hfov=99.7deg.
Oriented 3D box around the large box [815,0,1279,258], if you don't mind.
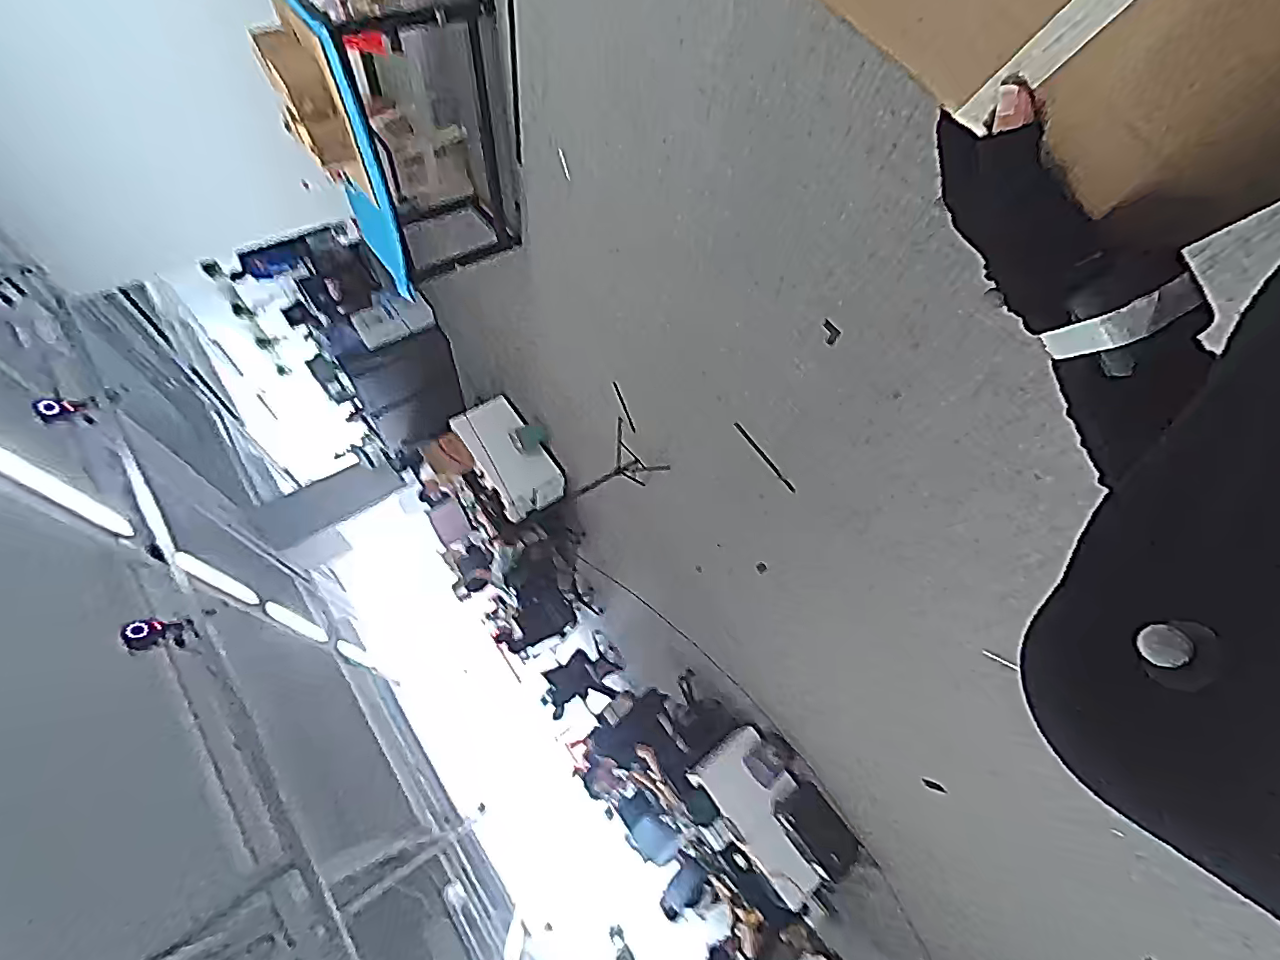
[{"bbox_3d":[0.332,-0.393,0.208,0.320,0.320,0.408,30,158,-11],"label":"large box"}]
